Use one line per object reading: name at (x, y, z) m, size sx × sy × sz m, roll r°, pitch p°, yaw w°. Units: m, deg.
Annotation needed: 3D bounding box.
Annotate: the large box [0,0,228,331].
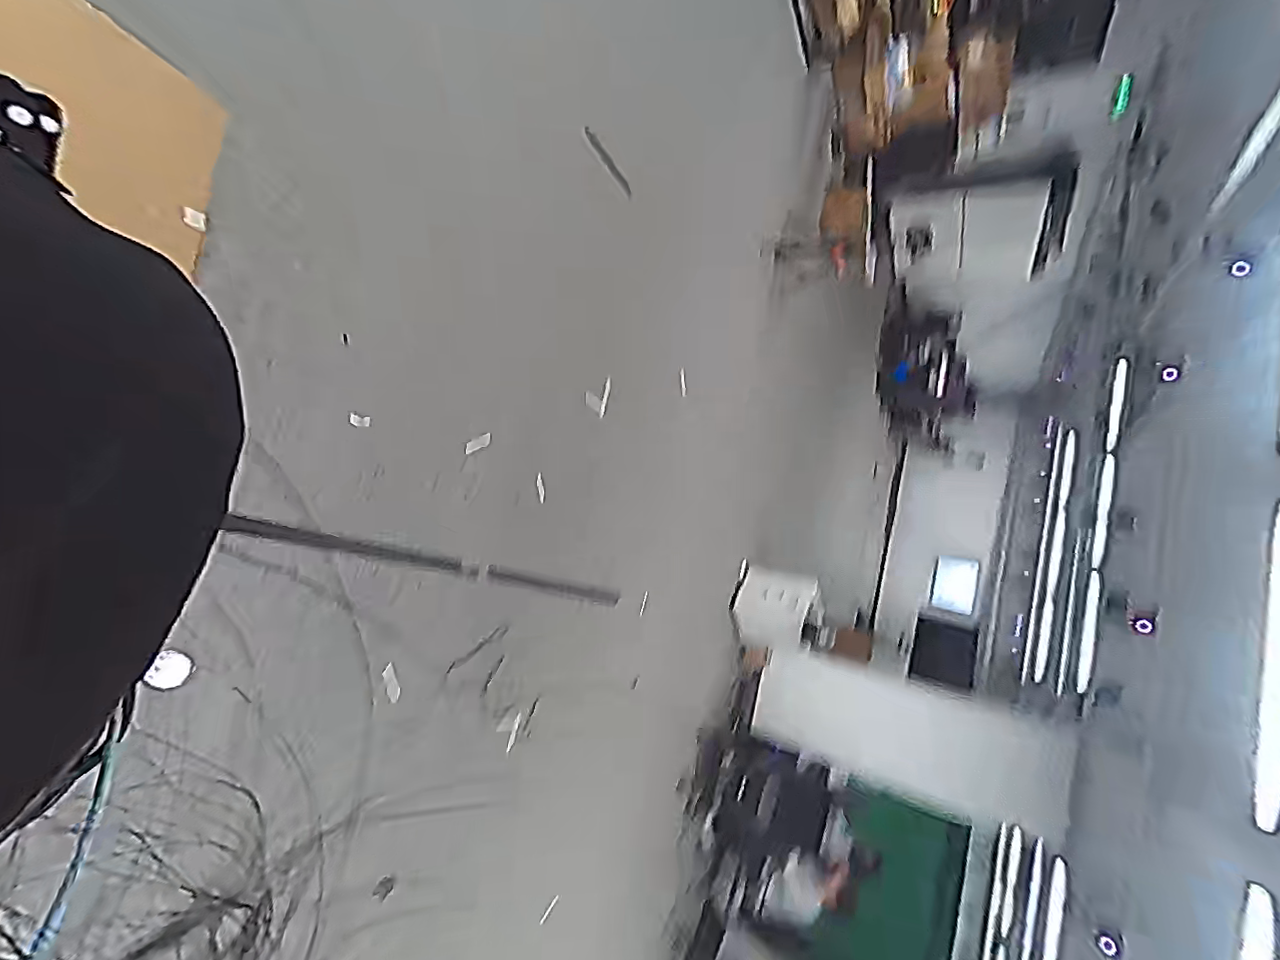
large box at (-0.785, -0.388, 0.591) m, size 0.320 × 0.408 × 0.320 m, roll -106°, pitch -146°, yaw -81°
